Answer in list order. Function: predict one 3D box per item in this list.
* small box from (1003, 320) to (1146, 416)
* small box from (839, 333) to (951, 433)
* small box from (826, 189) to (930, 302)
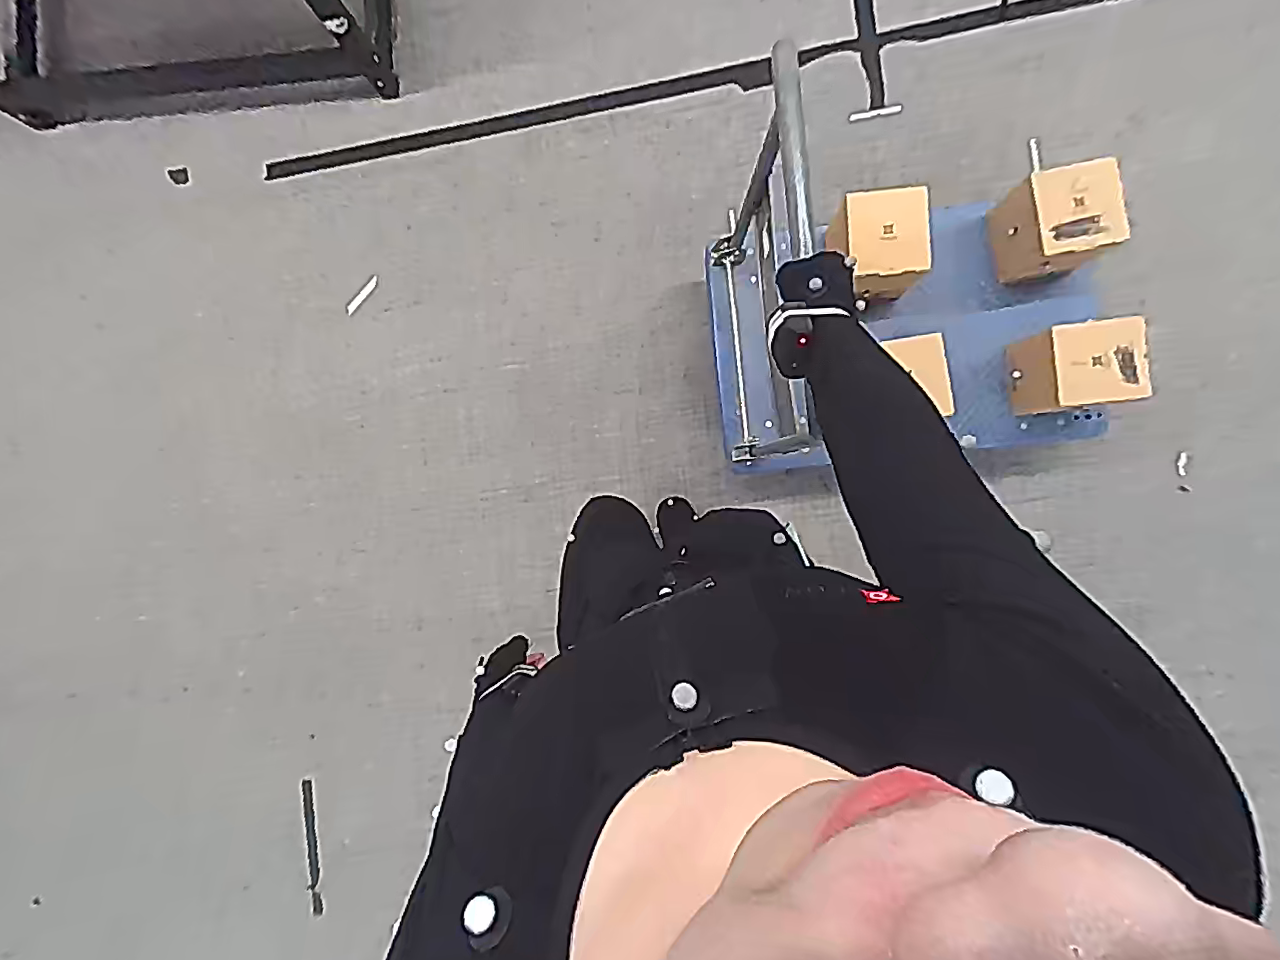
[{"bbox_3d":[0.928,-0.235,1.168,0.179,0.176,0.168,-5,89,6],"label":"small box"},{"bbox_3d":[0.554,-0.207,1.198,0.168,0.176,0.179,-8,89,5],"label":"small box"},{"bbox_3d":[0.520,-0.514,1.203,0.168,0.176,0.179,-3,91,4],"label":"small box"}]
